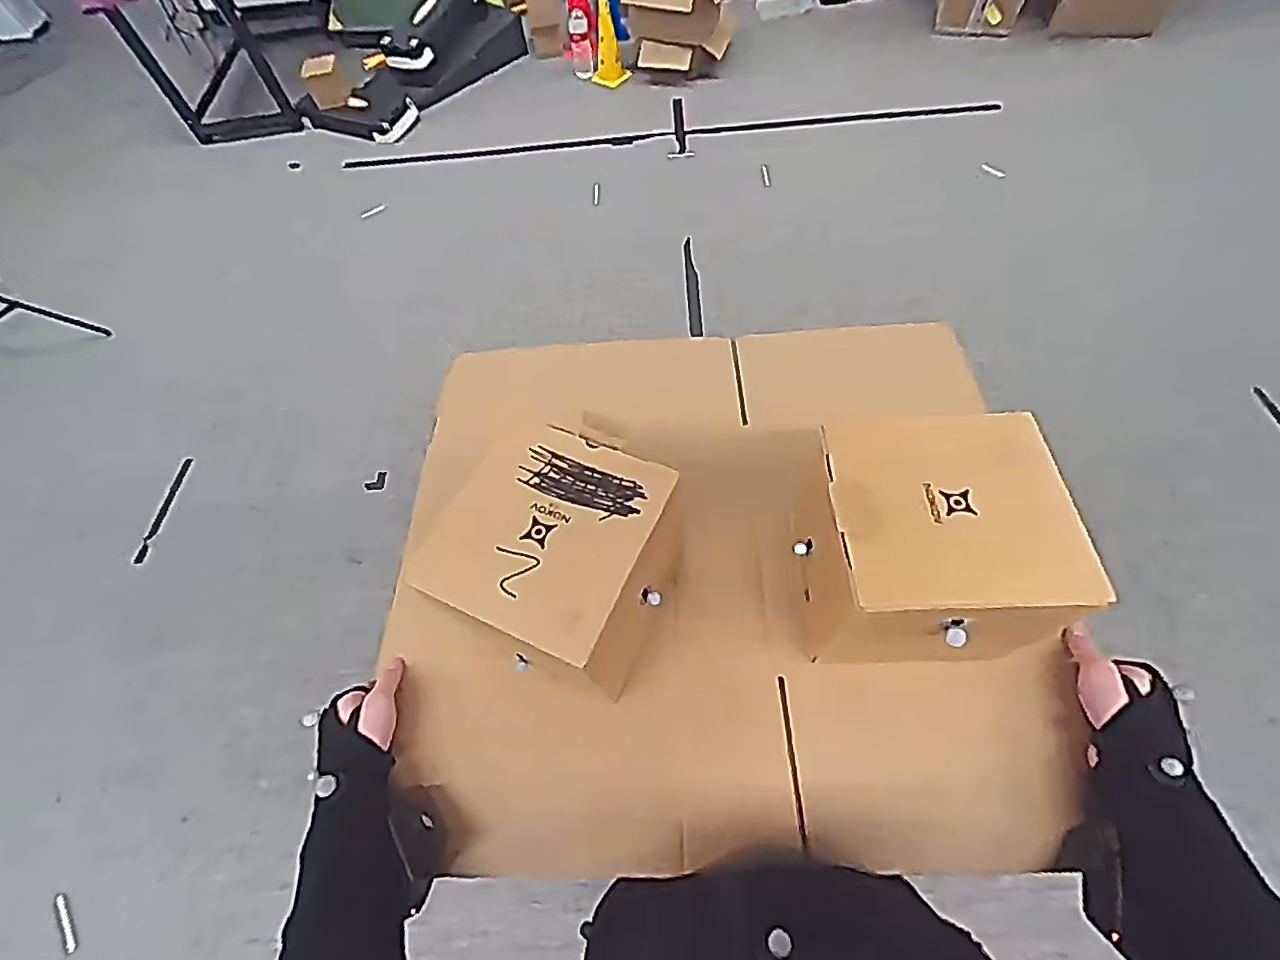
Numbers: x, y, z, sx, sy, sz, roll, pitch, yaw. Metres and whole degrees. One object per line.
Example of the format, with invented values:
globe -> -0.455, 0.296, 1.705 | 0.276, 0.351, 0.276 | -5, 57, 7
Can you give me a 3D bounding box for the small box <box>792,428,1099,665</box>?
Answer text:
small box -> 0.250, 0.068, 0.499 | 0.179, 0.176, 0.168 | -3, 59, 5
